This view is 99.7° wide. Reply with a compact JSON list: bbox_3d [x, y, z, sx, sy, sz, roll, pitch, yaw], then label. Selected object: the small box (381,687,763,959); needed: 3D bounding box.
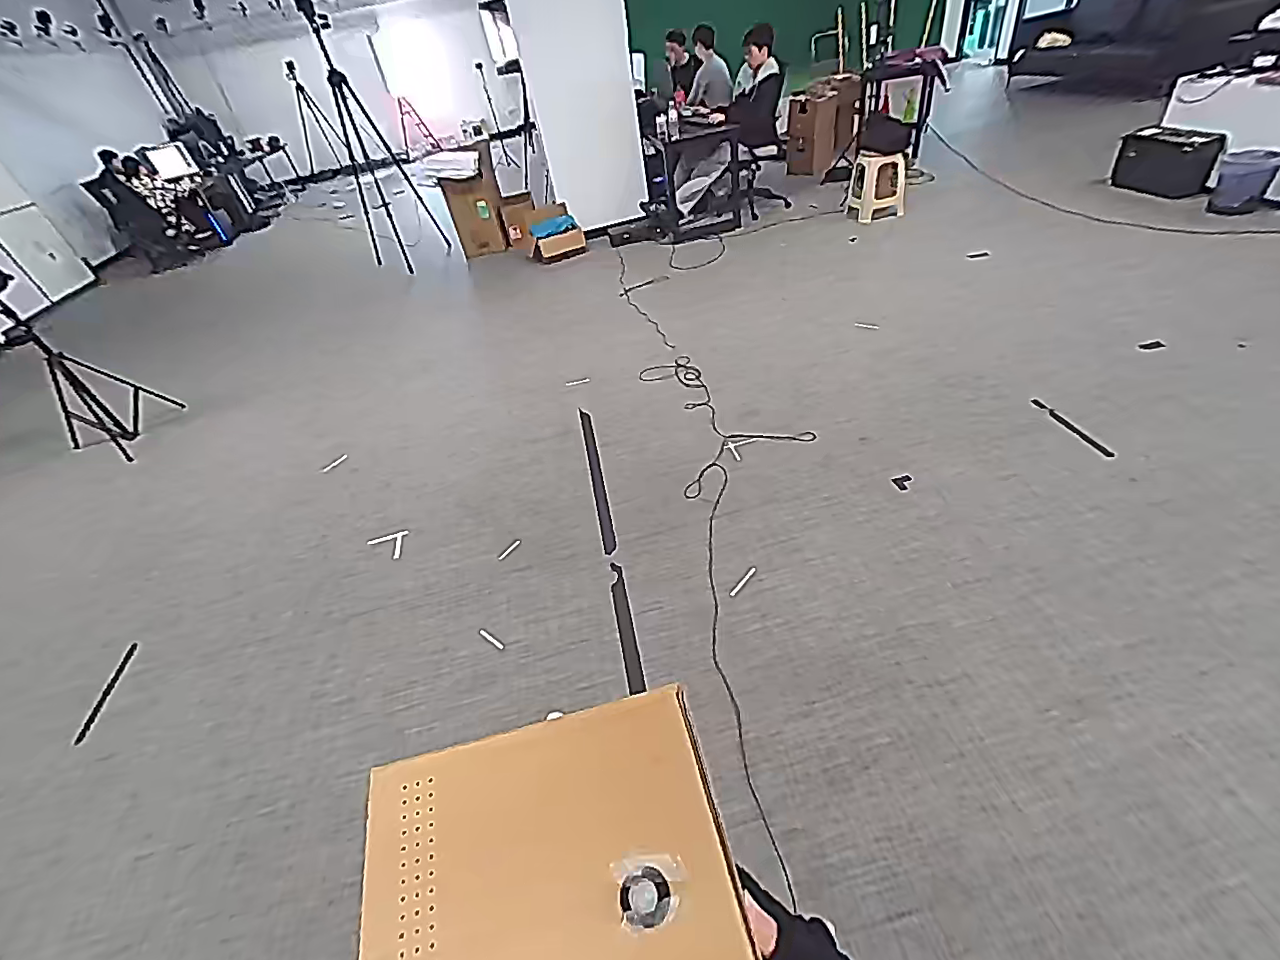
[{"bbox_3d":[-0.032,0.246,0.302,0.176,0.168,0.179,-14,53,-3],"label":"small box"}]
